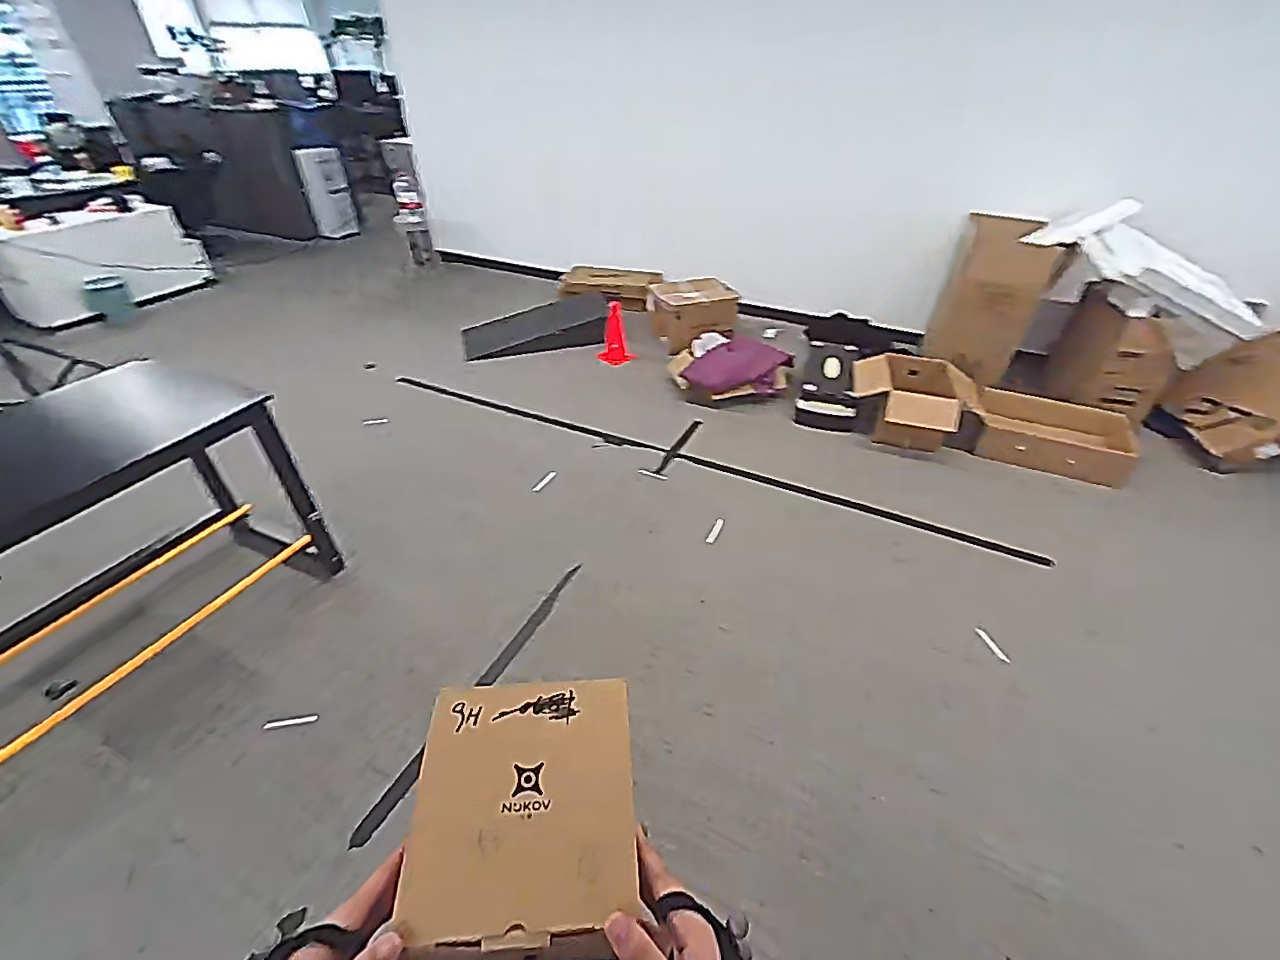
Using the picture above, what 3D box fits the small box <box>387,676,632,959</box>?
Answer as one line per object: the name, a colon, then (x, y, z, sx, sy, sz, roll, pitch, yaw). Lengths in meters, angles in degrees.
small box: (-0.093, 0.295, 0.471, 0.168, 0.176, 0.179, -2, 44, -5)
